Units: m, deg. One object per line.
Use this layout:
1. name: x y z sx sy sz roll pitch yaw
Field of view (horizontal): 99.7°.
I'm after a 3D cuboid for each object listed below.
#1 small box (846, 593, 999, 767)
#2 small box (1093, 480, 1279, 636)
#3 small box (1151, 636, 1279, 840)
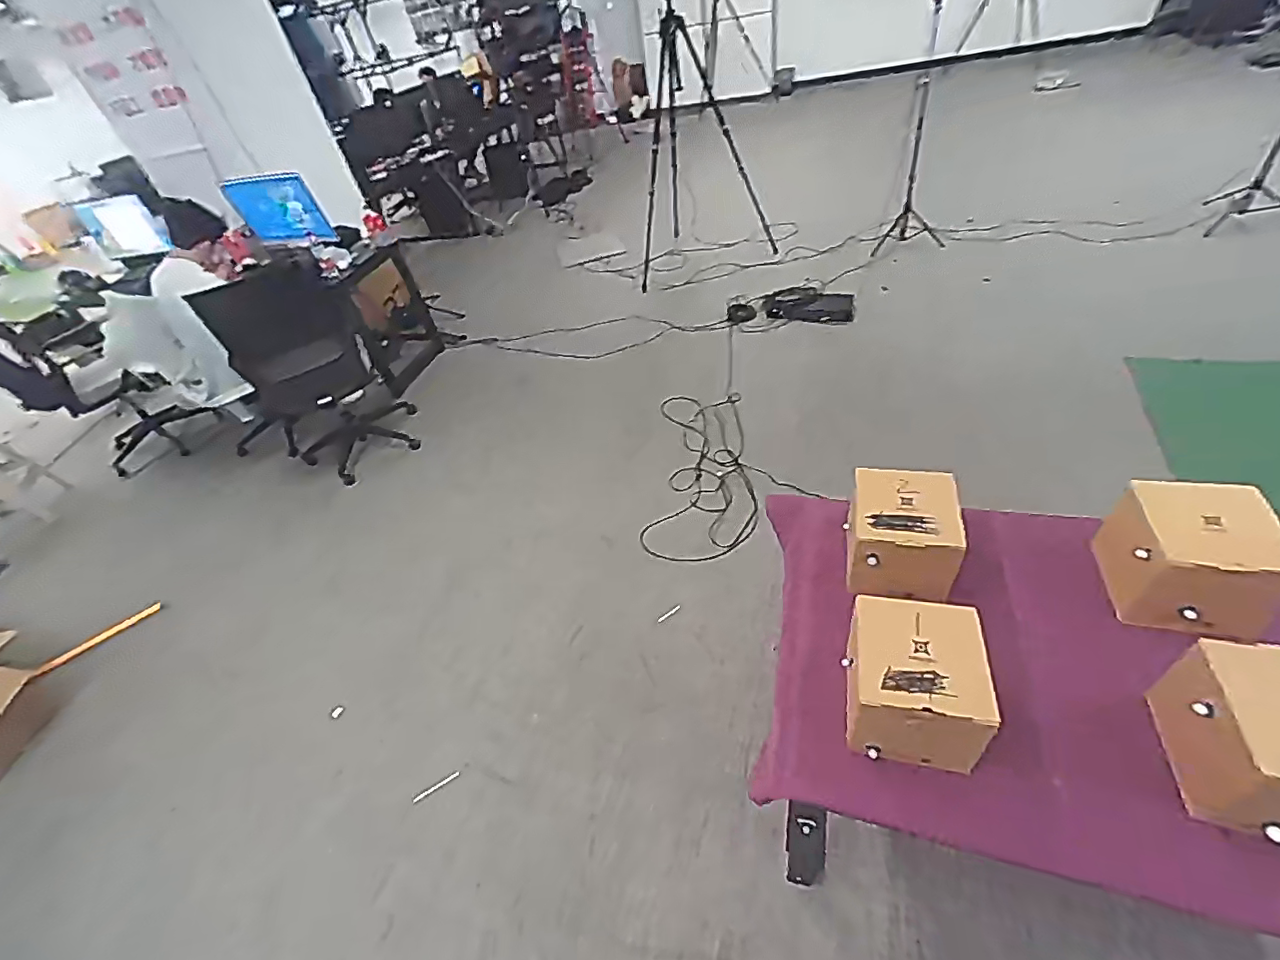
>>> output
1. small box: 0.403 0.296 0.801 0.168 0.176 0.179 4 43 17
2. small box: 0.882 0.123 0.875 0.168 0.176 0.179 4 46 17
3. small box: 0.796 0.328 0.676 0.168 0.176 0.179 5 45 20
